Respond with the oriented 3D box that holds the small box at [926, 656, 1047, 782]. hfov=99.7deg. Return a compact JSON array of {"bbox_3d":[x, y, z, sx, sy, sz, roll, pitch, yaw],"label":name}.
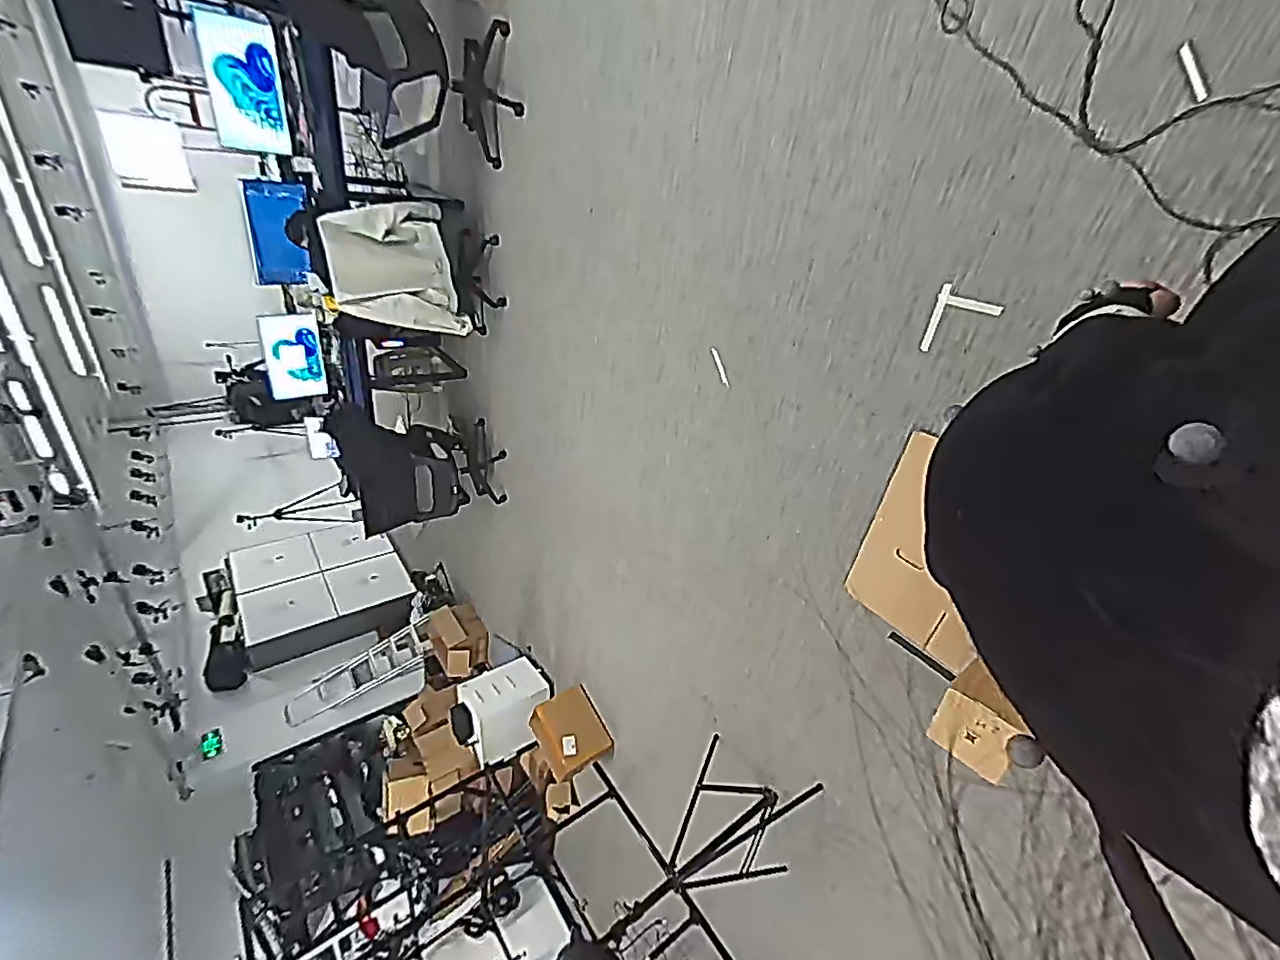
[{"bbox_3d":[0.817,0.555,1.274,0.168,0.176,0.179,32,128,42],"label":"small box"}]
